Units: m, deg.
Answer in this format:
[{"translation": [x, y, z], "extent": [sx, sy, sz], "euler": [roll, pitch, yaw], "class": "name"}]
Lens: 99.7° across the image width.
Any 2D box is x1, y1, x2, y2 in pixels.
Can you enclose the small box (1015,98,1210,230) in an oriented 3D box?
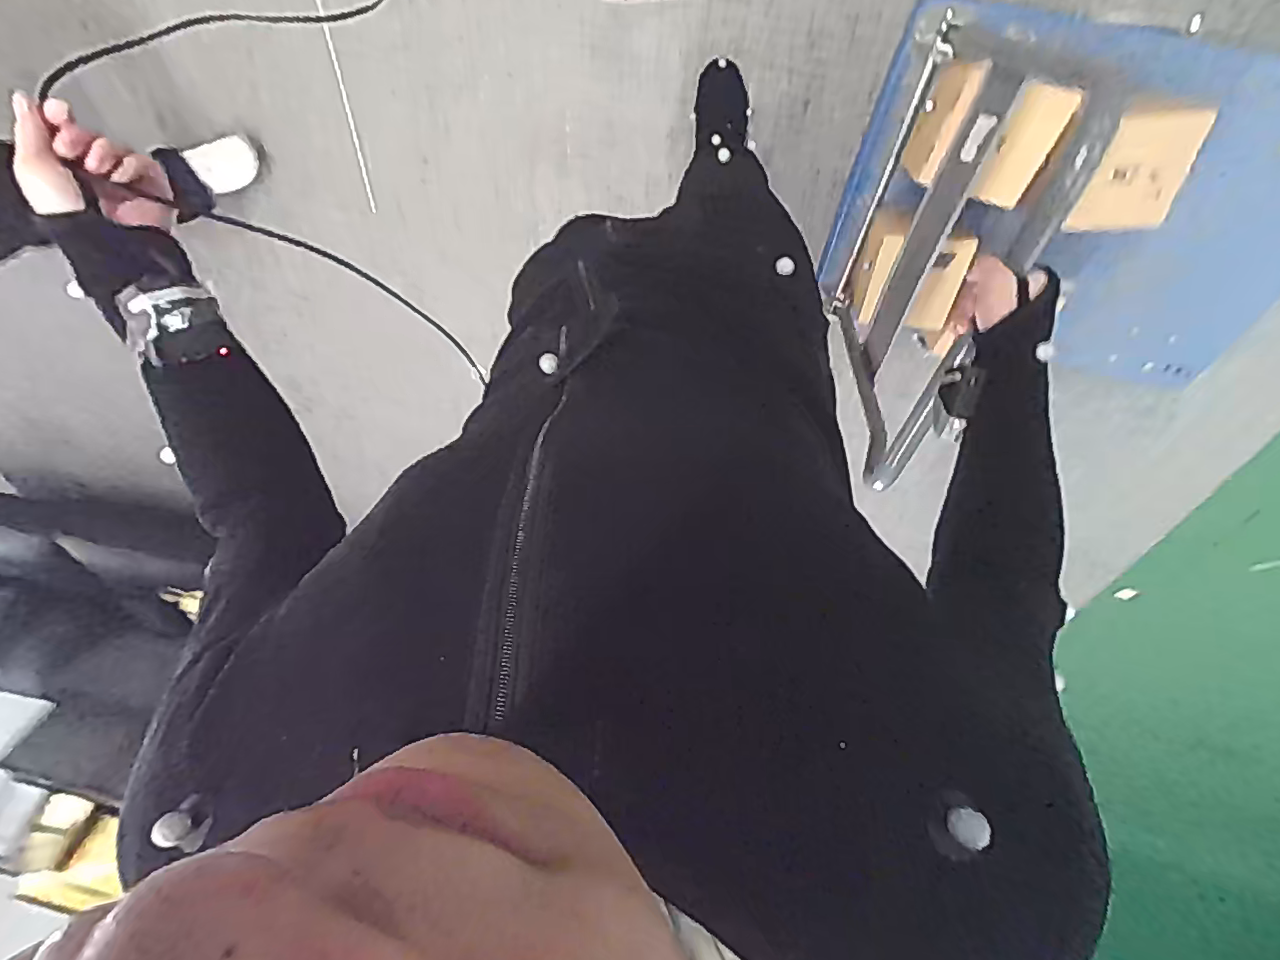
[{"translation": [0.788, -0.544, 0.931], "extent": [0.179, 0.176, 0.168], "euler": [4, 132, 12], "class": "small box"}]
